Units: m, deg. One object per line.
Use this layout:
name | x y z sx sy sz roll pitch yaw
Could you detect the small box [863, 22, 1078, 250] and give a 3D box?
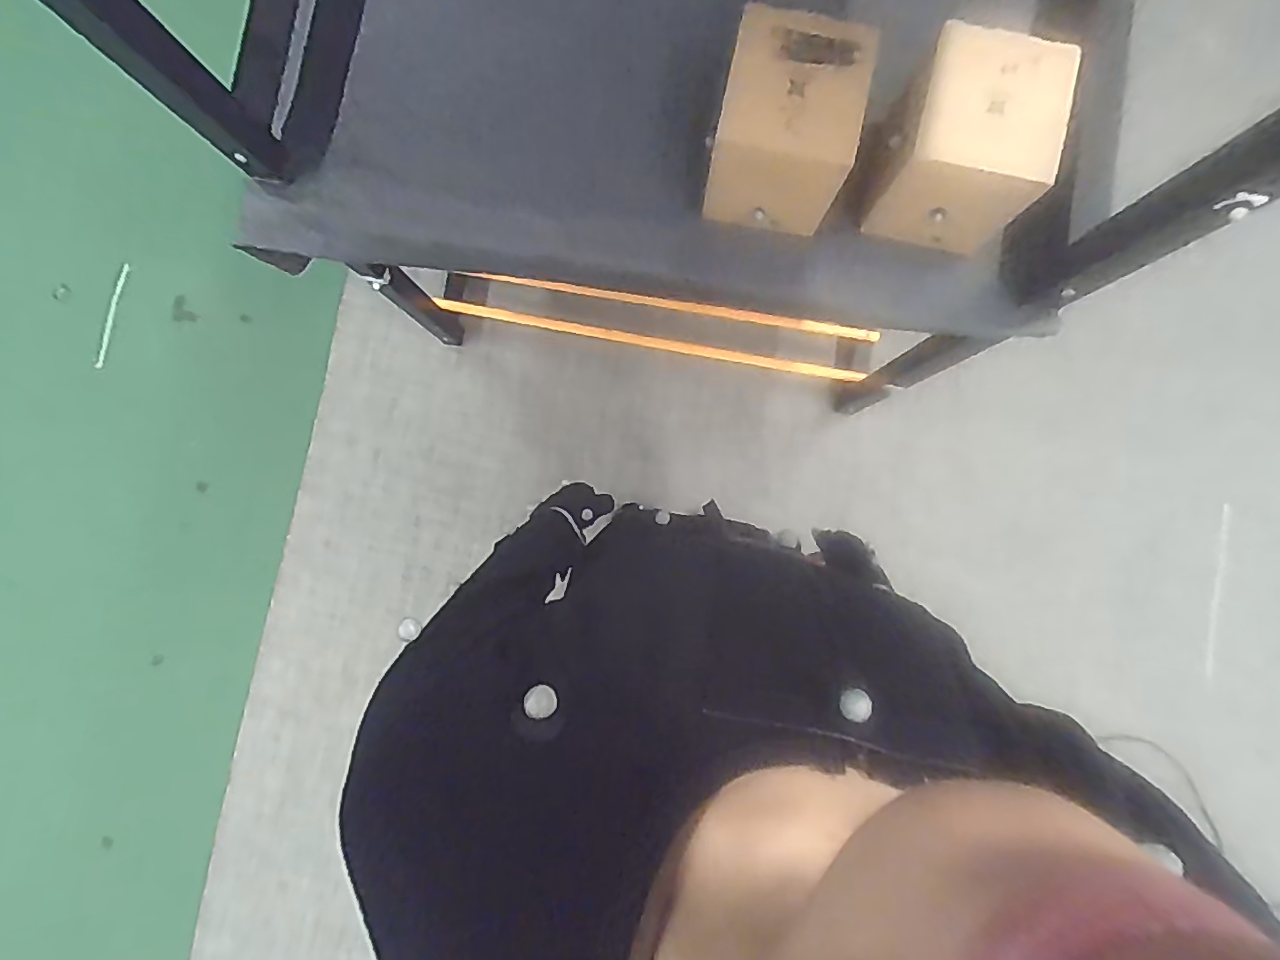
small box | 0.413 -0.431 0.706 0.168 0.176 0.179 14 86 2
